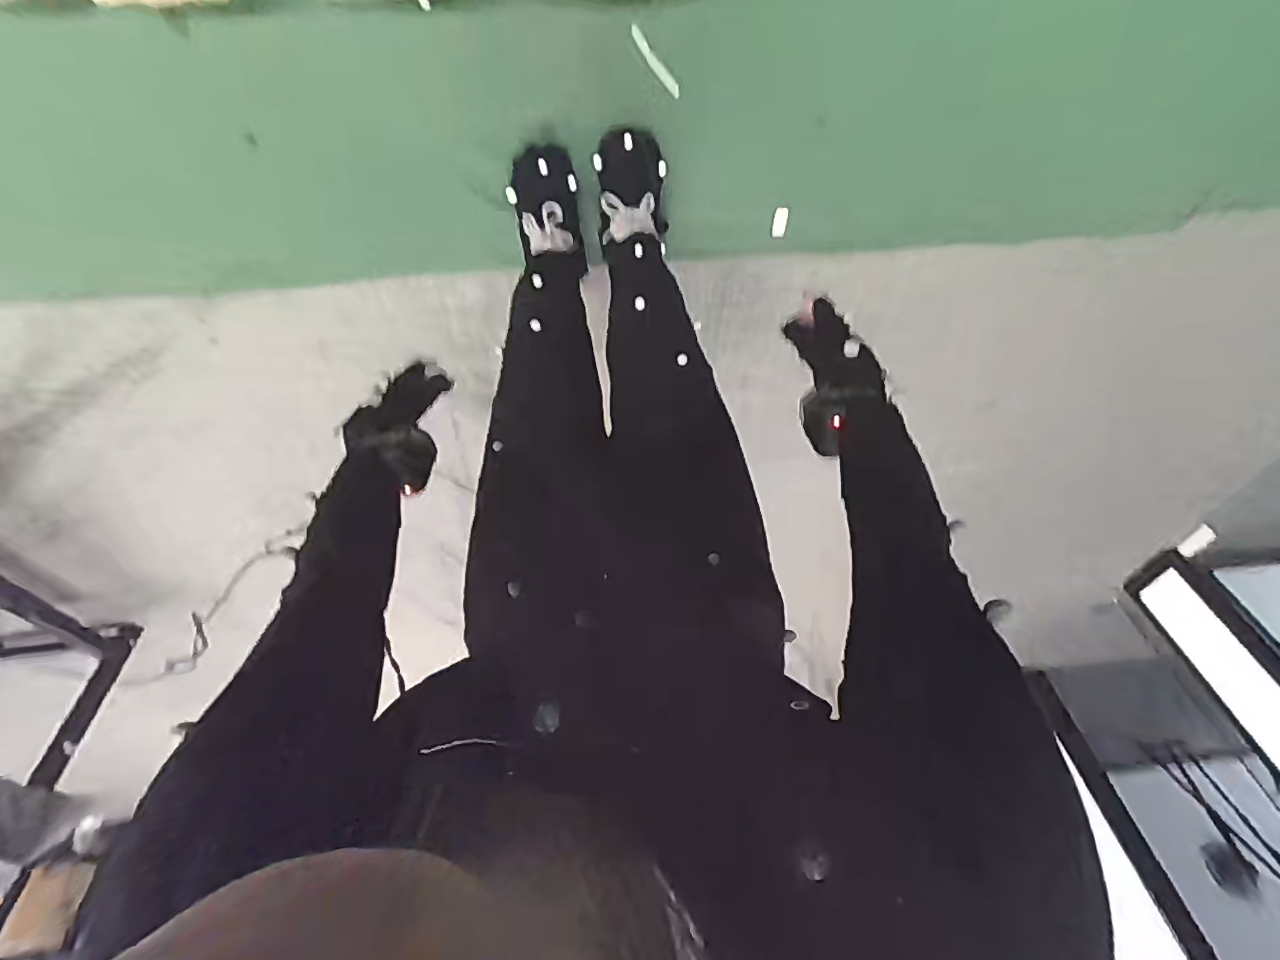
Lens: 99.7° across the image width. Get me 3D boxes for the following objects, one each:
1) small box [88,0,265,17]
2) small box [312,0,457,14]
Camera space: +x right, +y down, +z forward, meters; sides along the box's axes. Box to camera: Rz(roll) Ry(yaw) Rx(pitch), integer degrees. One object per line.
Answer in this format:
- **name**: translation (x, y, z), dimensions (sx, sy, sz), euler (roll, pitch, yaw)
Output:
- **small box**: translation (-0.612, -0.708, 0.679), dimensions (0.168, 0.176, 0.179), euler (-5, 137, -3)
- **small box**: translation (-0.339, -0.723, 0.699), dimensions (0.179, 0.176, 0.168), euler (-4, 136, -5)
